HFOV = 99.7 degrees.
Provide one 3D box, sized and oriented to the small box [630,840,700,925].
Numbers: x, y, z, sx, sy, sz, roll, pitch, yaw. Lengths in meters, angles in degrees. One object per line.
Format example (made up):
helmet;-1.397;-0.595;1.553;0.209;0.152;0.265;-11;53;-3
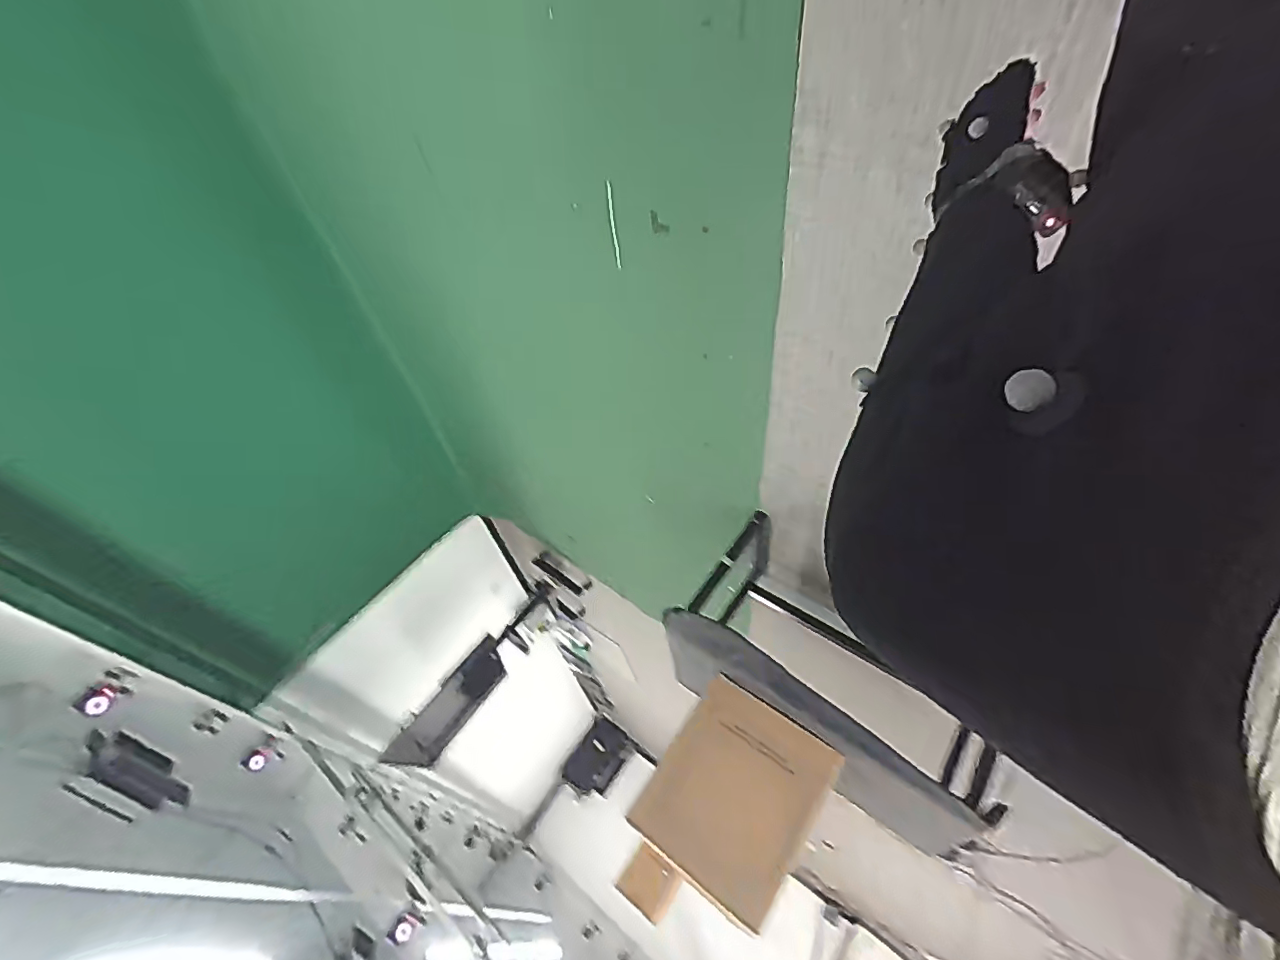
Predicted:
small box;0.091;1.404;1.892;0.168;0.176;0.179;24;147;34
